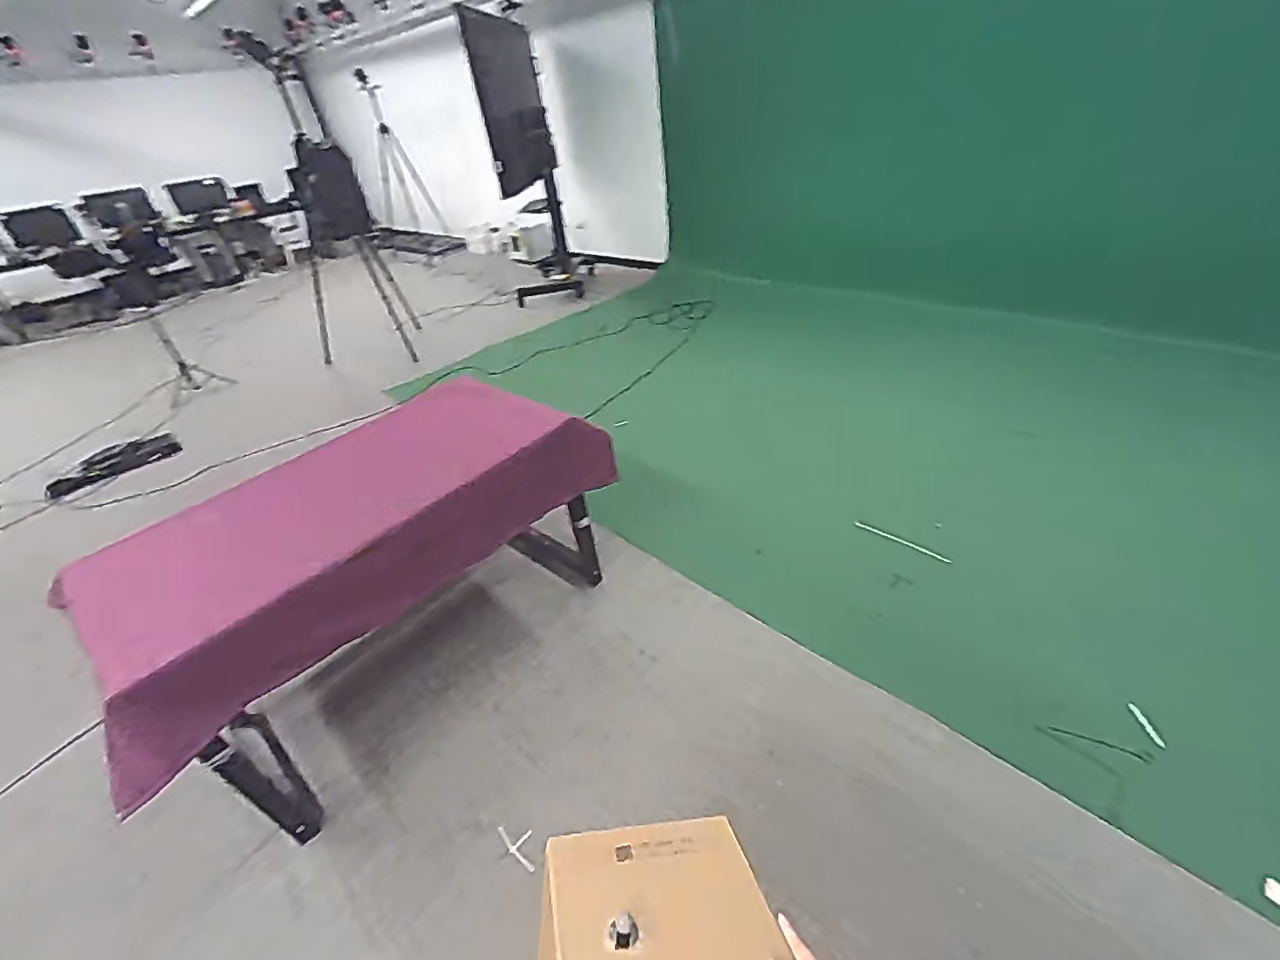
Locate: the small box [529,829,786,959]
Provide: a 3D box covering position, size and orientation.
[{"bbox_3d":[0.004,0.406,0.421,0.168,0.179,0.176,3,12,-15],"label":"small box"}]
